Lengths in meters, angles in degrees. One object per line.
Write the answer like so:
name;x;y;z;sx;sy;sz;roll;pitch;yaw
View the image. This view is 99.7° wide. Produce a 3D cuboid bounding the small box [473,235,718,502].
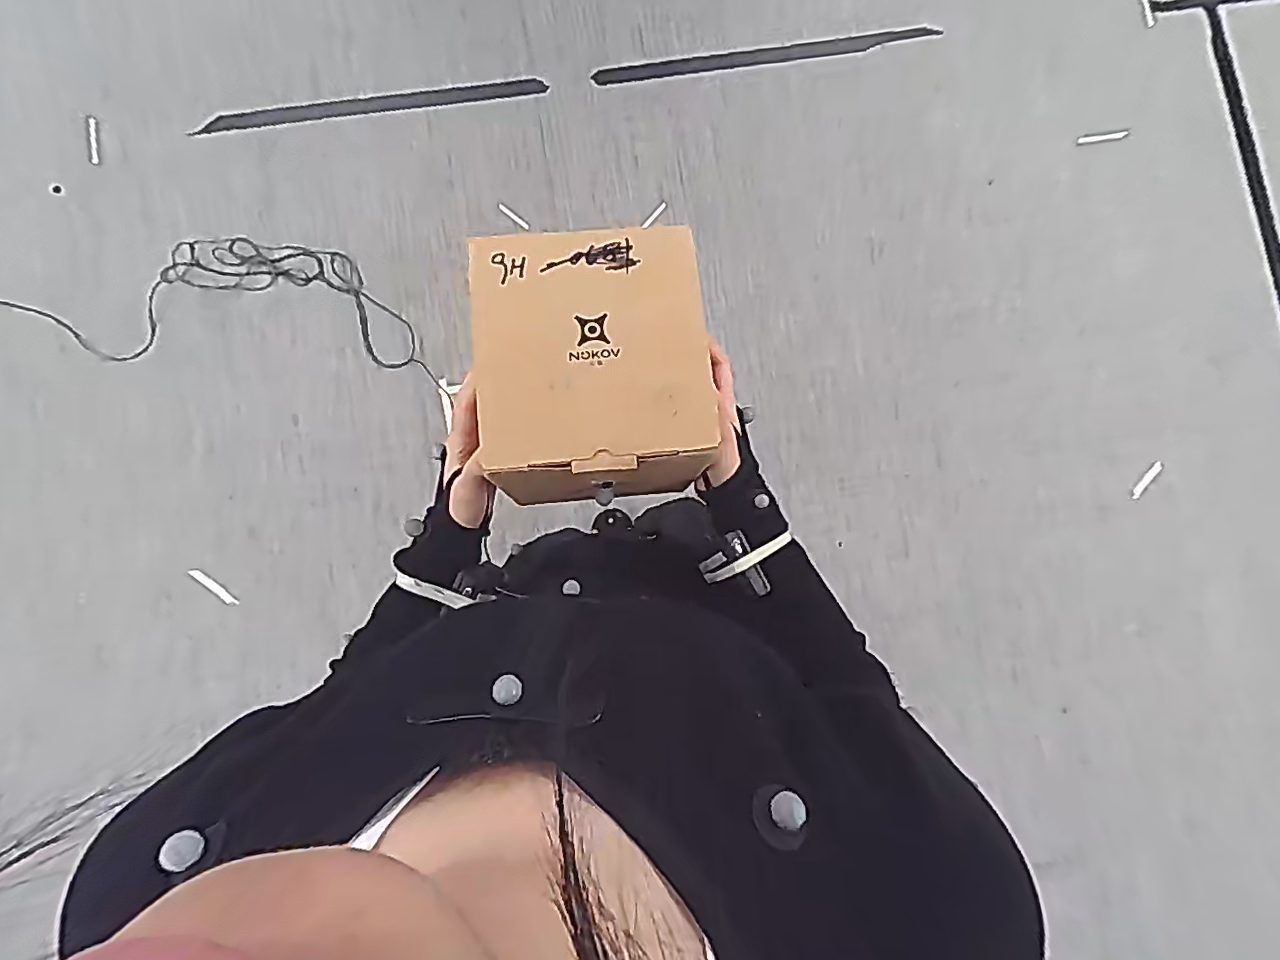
small box;-0.037;-0.078;0.460;0.168;0.176;0.179;-5;80;-5
